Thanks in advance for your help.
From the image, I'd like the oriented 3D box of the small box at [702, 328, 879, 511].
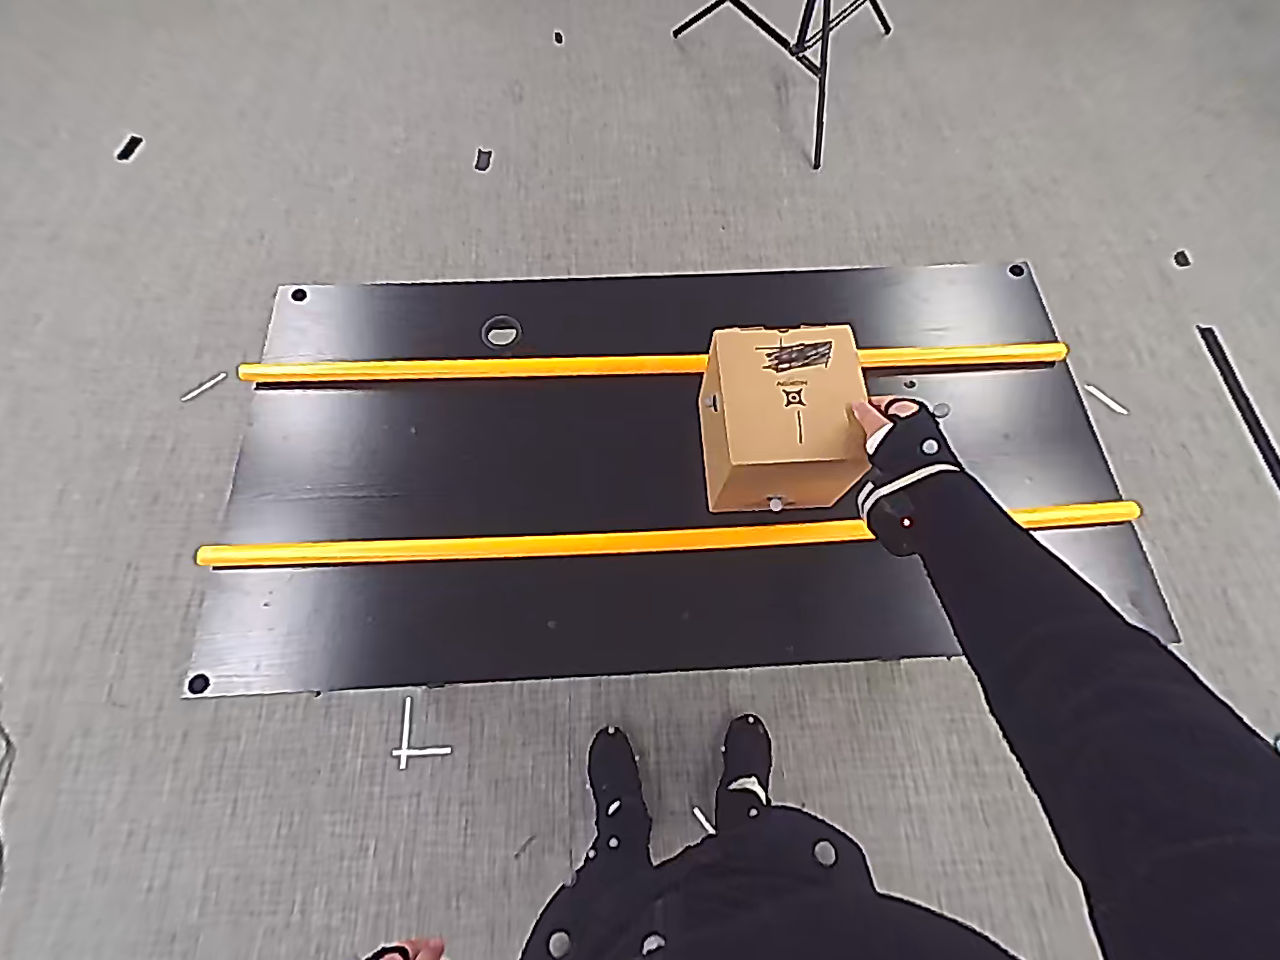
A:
[{"bbox_3d":[0.174,-0.070,0.687,0.168,0.176,0.179,-2,69,-1],"label":"small box"}]
